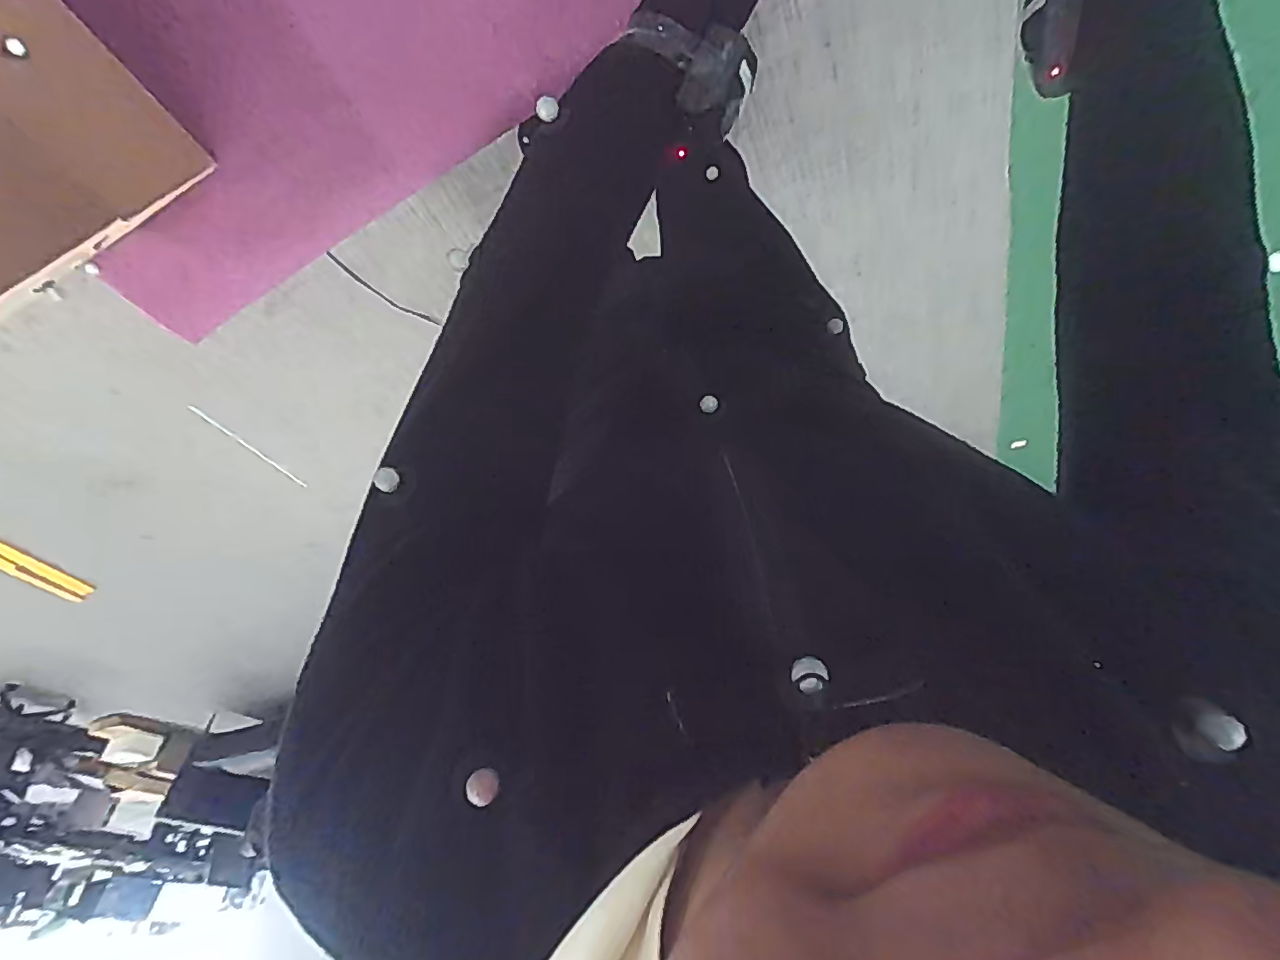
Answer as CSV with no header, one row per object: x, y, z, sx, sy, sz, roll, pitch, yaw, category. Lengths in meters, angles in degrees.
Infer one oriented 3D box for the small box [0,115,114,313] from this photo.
-0.604,-0.219,0.431,0.168,0.176,0.179,-19,134,21,small box
